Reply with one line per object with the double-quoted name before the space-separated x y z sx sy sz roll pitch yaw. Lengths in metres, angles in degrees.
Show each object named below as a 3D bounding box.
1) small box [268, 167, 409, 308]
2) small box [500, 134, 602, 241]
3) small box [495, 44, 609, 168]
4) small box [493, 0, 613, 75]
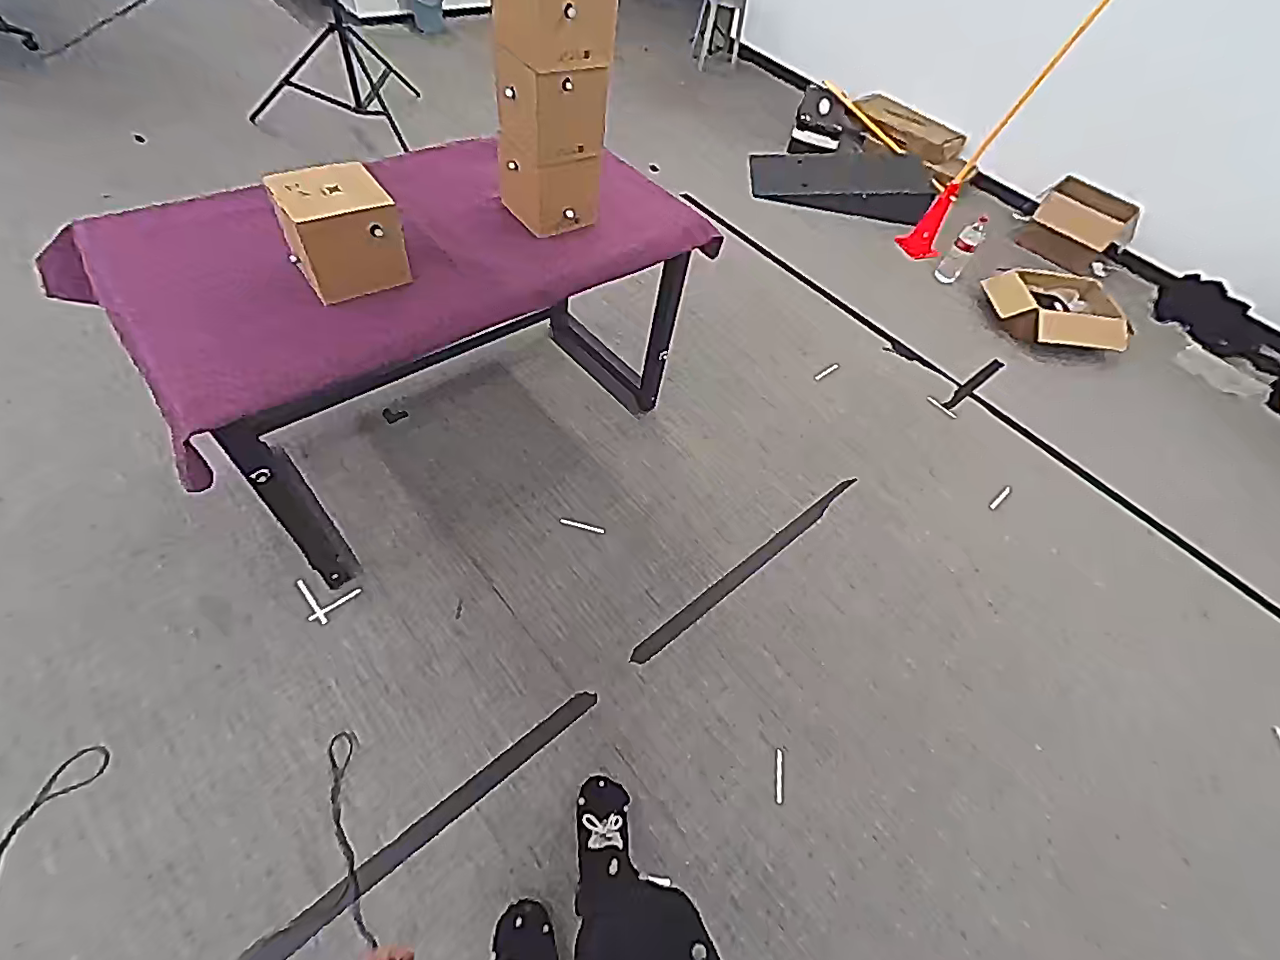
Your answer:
"small box" -0.565 -0.464 1.040 0.179 0.176 0.168 -29 64 -26
"small box" -0.210 -0.692 1.262 0.168 0.176 0.179 -30 65 -26
"small box" -0.185 -0.782 1.127 0.168 0.176 0.179 -28 63 -25
"small box" -0.157 -0.871 0.993 0.168 0.176 0.179 -28 64 -25
